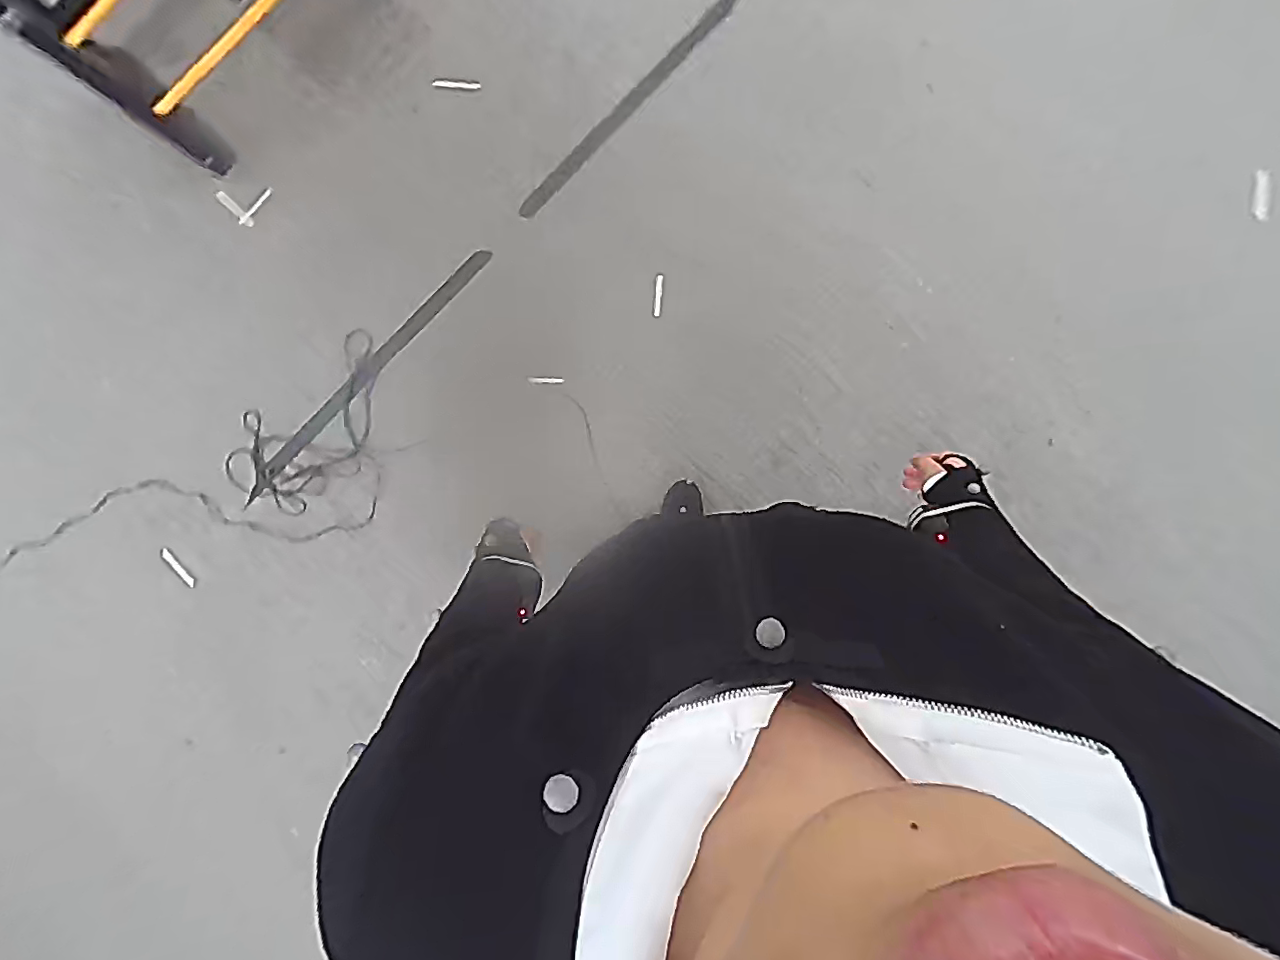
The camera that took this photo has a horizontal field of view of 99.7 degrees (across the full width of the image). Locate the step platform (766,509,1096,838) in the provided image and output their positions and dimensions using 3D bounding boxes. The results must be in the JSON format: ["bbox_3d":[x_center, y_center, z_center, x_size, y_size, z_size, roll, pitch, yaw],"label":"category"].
[{"bbox_3d":[0.588,0.387,1.156,0.286,0.204,0.684,43,92,3],"label":"step platform"}]

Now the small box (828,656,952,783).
[{"bbox_3d":[0.529,0.510,1.193,0.179,0.176,0.168,42,90,4],"label":"small box"}]
